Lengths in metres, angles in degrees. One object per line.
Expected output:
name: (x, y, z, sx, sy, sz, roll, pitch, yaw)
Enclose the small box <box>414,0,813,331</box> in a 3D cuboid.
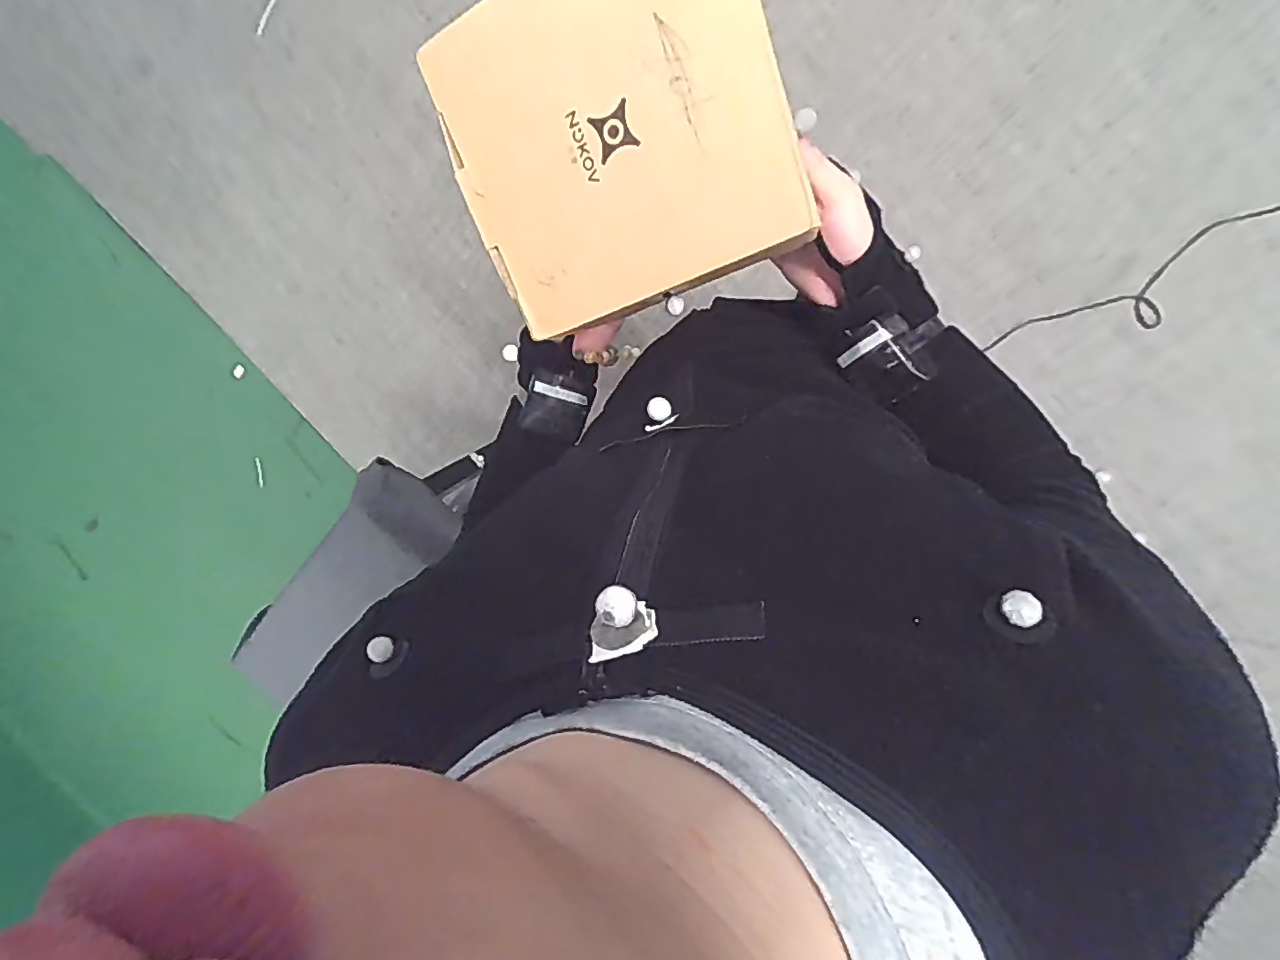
small box: (0.004, -0.211, 0.349, 0.179, 0.176, 0.168, -16, 106, 22)
